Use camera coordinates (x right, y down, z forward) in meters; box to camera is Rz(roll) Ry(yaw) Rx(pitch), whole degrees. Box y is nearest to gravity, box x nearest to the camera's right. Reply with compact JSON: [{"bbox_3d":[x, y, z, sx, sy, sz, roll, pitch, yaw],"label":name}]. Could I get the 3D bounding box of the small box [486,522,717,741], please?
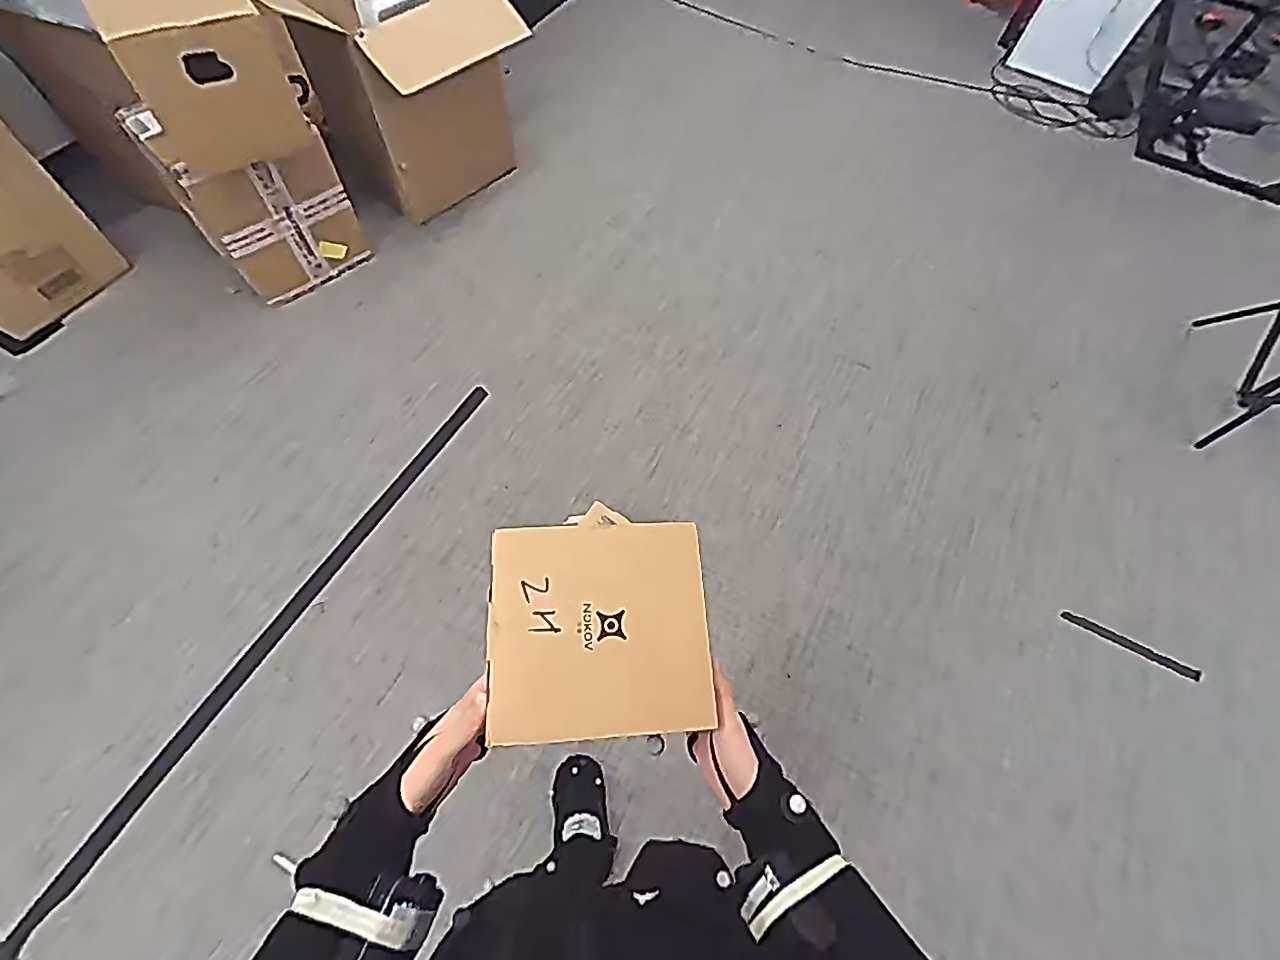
[{"bbox_3d":[-0.039,0.141,0.505,0.179,0.176,0.168,-2,69,-6],"label":"small box"}]
